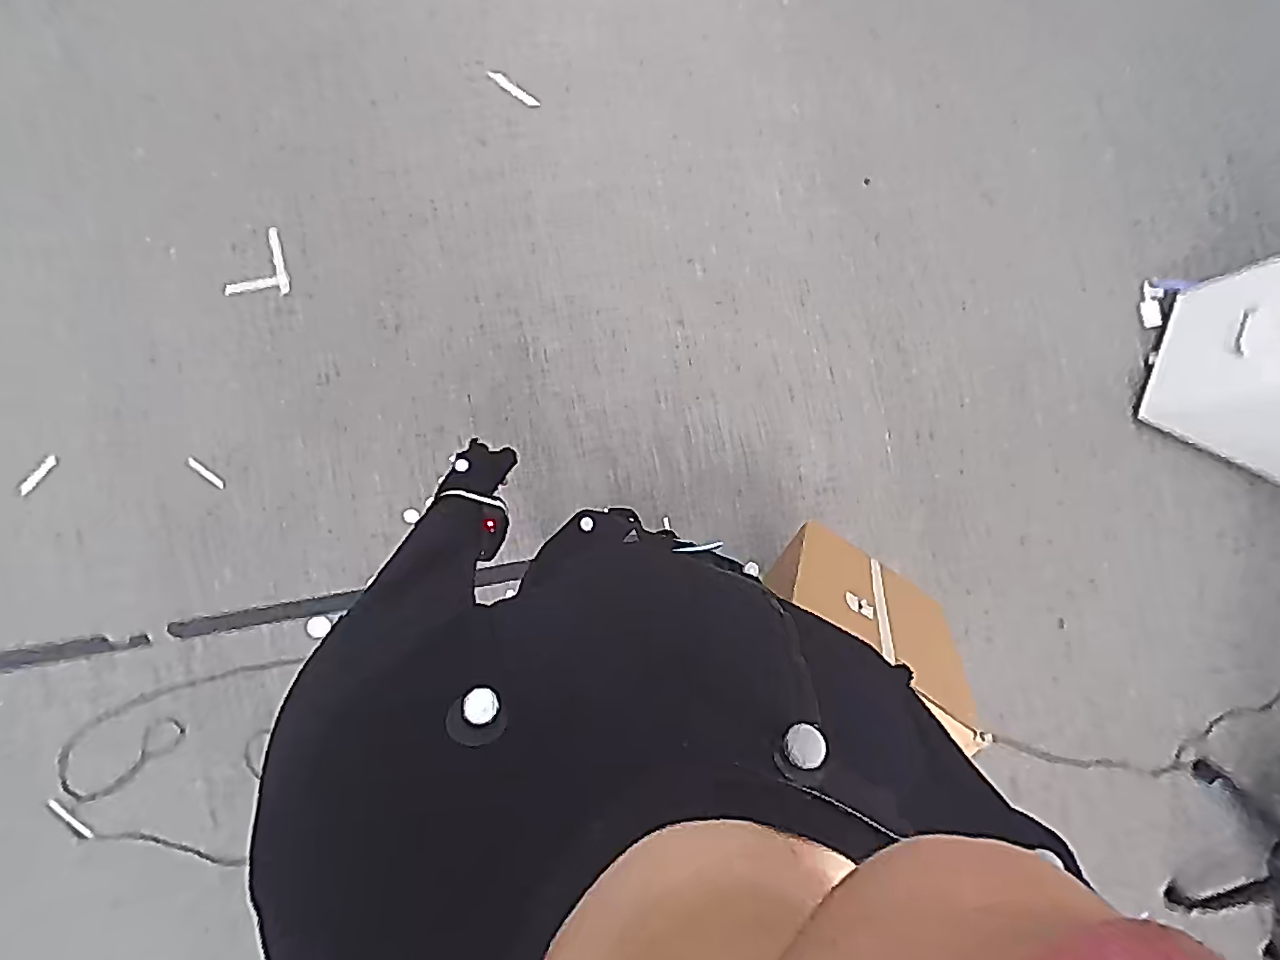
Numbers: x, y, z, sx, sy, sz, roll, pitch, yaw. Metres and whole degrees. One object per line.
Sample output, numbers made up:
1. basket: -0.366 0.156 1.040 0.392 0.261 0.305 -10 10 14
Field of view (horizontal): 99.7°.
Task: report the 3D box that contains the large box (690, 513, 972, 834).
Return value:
1. large box: 0.335 0.326 1.012 0.320 0.408 0.320 32 115 8
